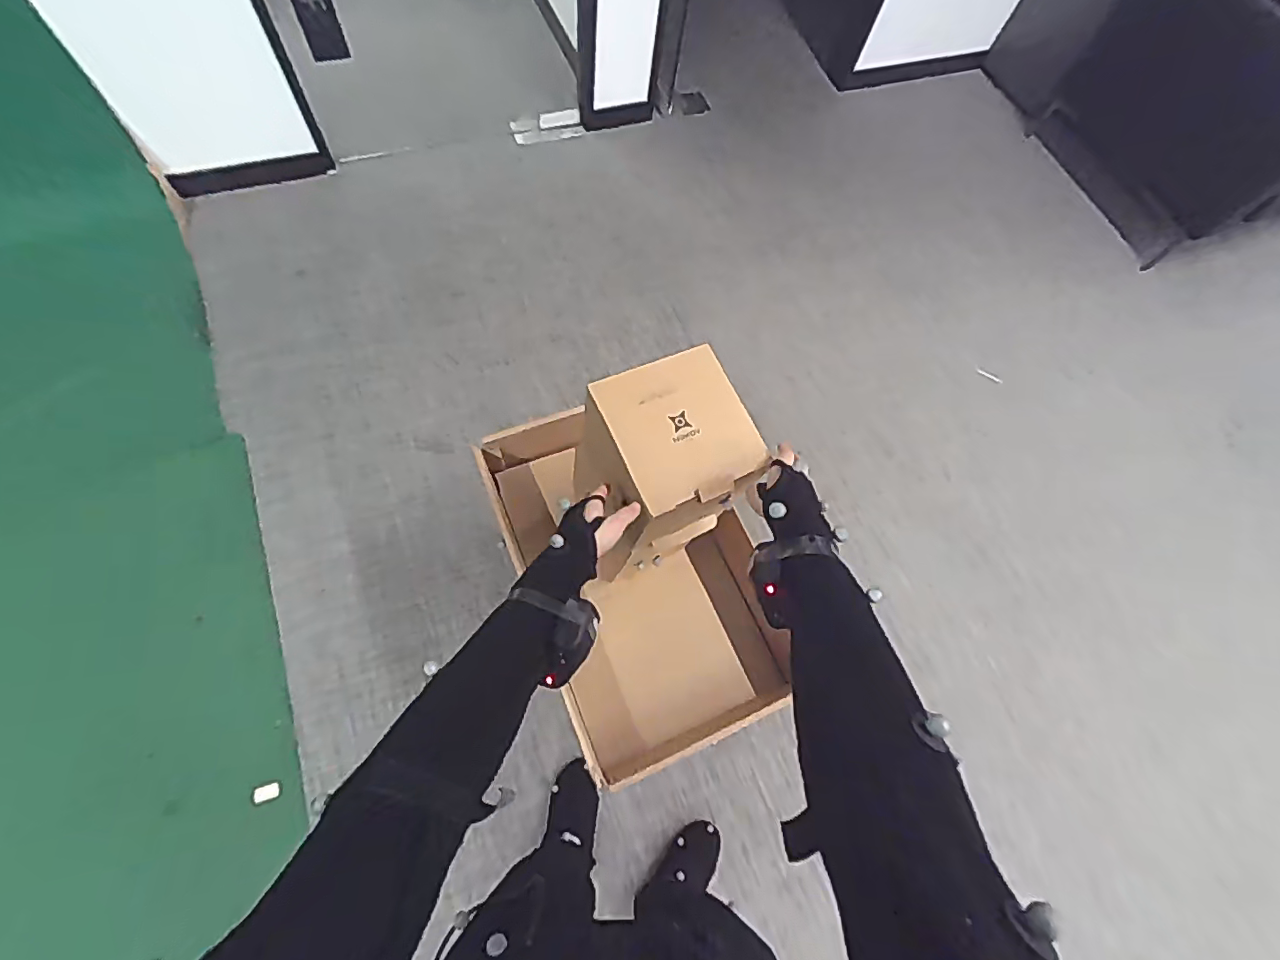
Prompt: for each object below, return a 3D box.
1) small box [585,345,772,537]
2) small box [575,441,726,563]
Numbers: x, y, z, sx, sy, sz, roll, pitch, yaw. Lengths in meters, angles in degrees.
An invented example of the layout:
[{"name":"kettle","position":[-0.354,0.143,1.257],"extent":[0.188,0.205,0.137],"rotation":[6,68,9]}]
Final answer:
[{"name":"small box","position":[0.037,-0.038,0.700],"extent":[0.168,0.176,0.179],"rotation":[-22,76,-16]},{"name":"small box","position":[0.007,0.018,0.849],"extent":[0.168,0.176,0.179],"rotation":[-25,76,-16]}]
